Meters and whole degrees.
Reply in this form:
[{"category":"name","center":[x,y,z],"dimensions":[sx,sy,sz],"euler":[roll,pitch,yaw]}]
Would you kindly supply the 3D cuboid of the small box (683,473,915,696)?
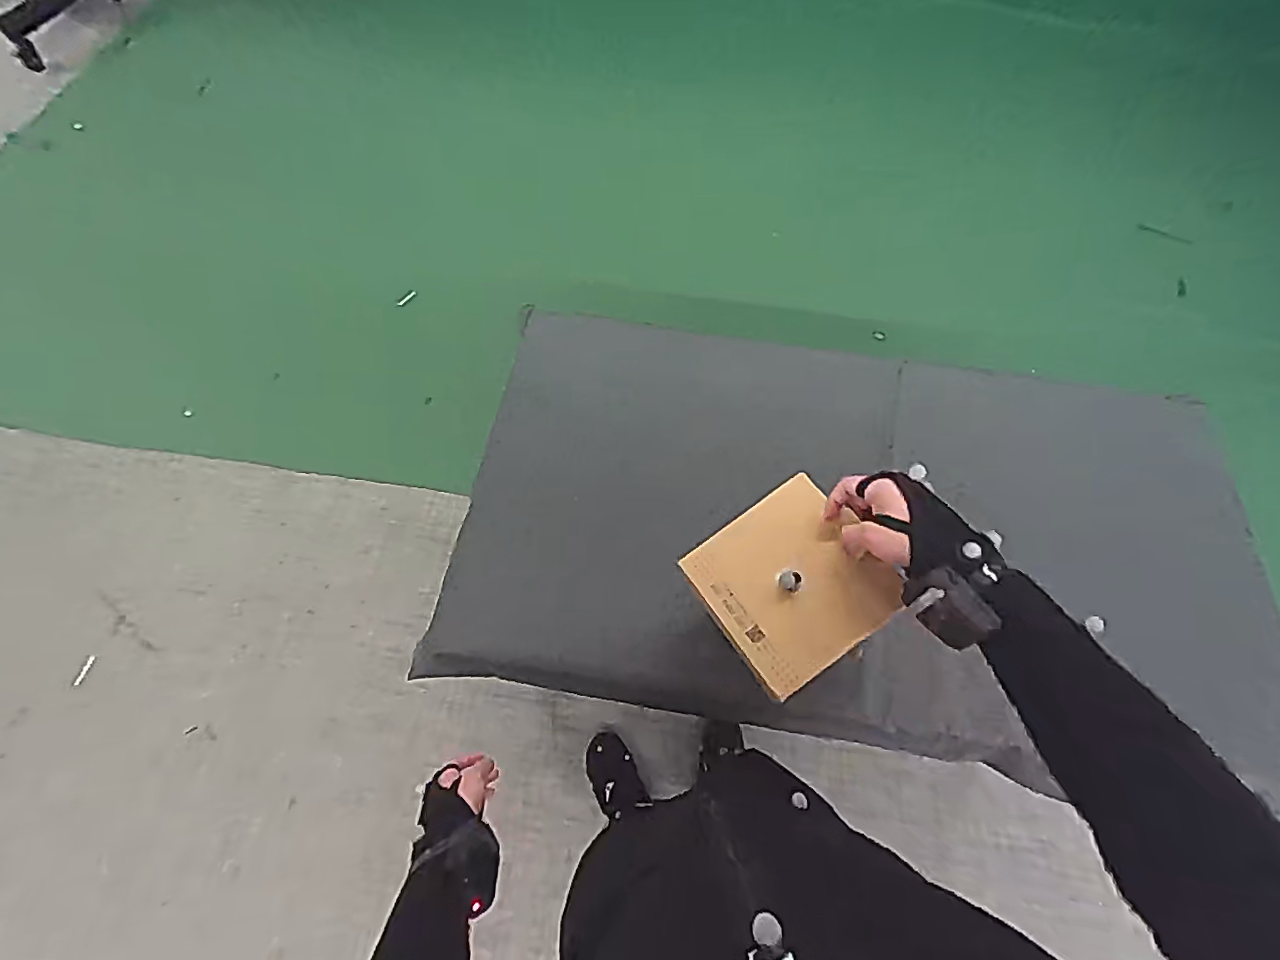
[{"category":"small box","center":[0.166,0.127,0.616],"dimensions":[0.176,0.179,0.168],"euler":[-38,69,-5]}]
